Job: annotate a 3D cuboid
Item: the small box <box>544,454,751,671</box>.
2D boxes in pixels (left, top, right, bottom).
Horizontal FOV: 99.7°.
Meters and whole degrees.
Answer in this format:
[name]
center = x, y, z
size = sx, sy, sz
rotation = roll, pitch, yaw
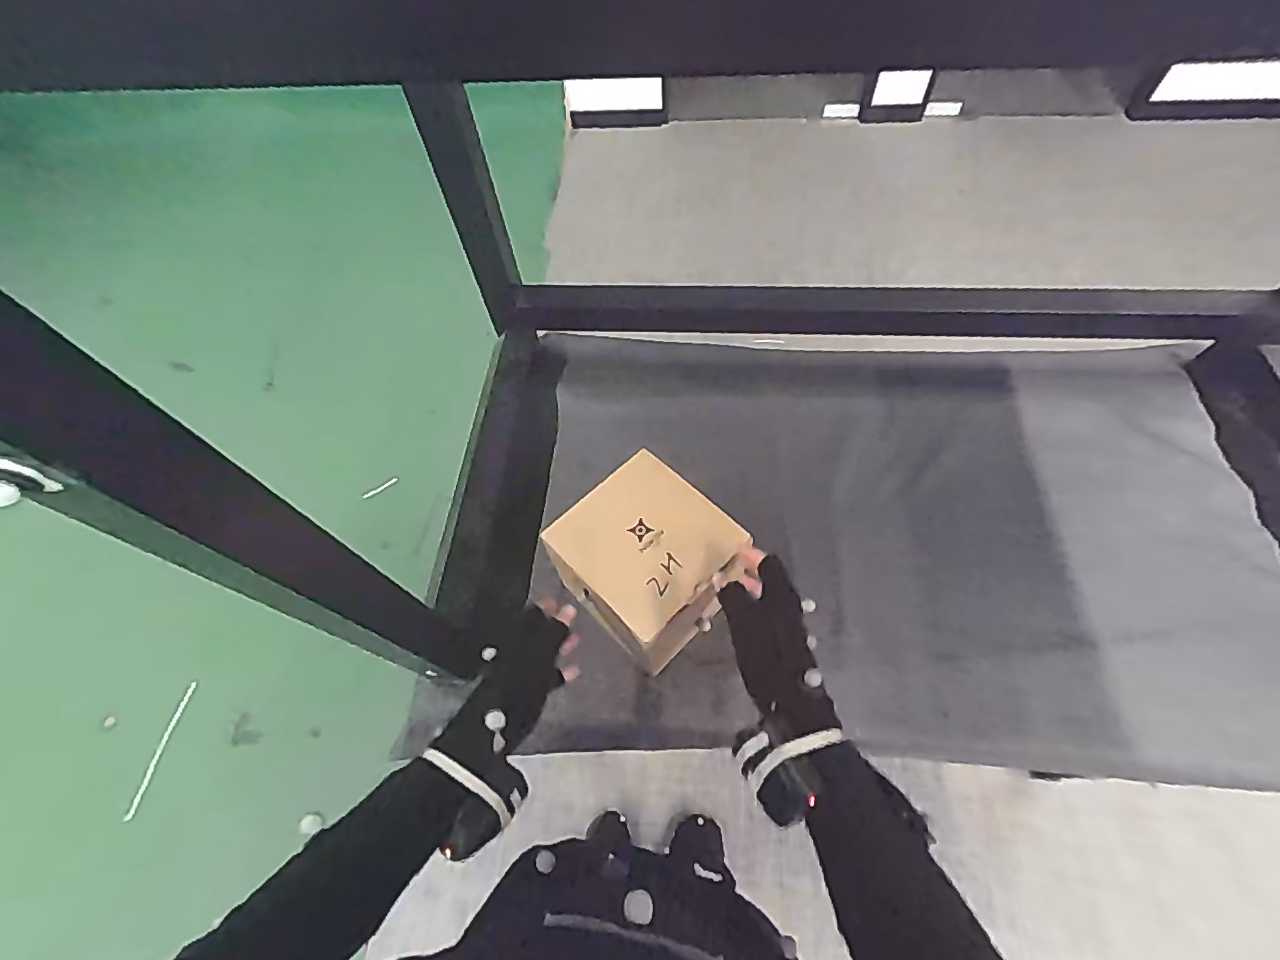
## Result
[small box]
center = 0.010, 0.108, 0.671
size = 0.168, 0.176, 0.179
rotation = -41, 65, -18
